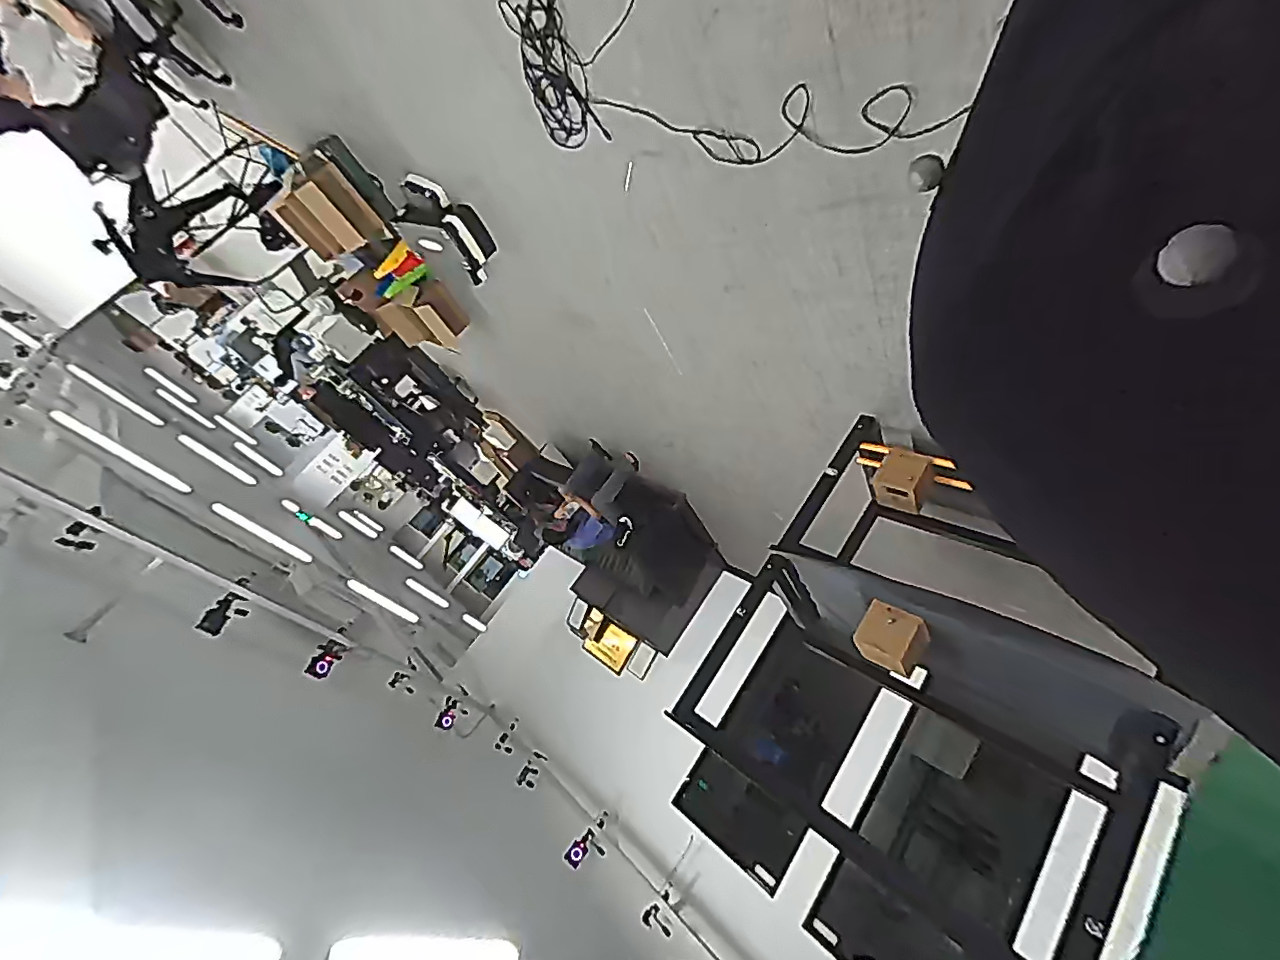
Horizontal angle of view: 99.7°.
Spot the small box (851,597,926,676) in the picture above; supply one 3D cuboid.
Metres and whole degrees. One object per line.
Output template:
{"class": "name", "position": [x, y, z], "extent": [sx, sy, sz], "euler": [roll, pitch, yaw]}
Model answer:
{"class": "small box", "position": [0.854, 0.532, 1.846], "extent": [0.168, 0.176, 0.179], "euler": [19, 156, 45]}
